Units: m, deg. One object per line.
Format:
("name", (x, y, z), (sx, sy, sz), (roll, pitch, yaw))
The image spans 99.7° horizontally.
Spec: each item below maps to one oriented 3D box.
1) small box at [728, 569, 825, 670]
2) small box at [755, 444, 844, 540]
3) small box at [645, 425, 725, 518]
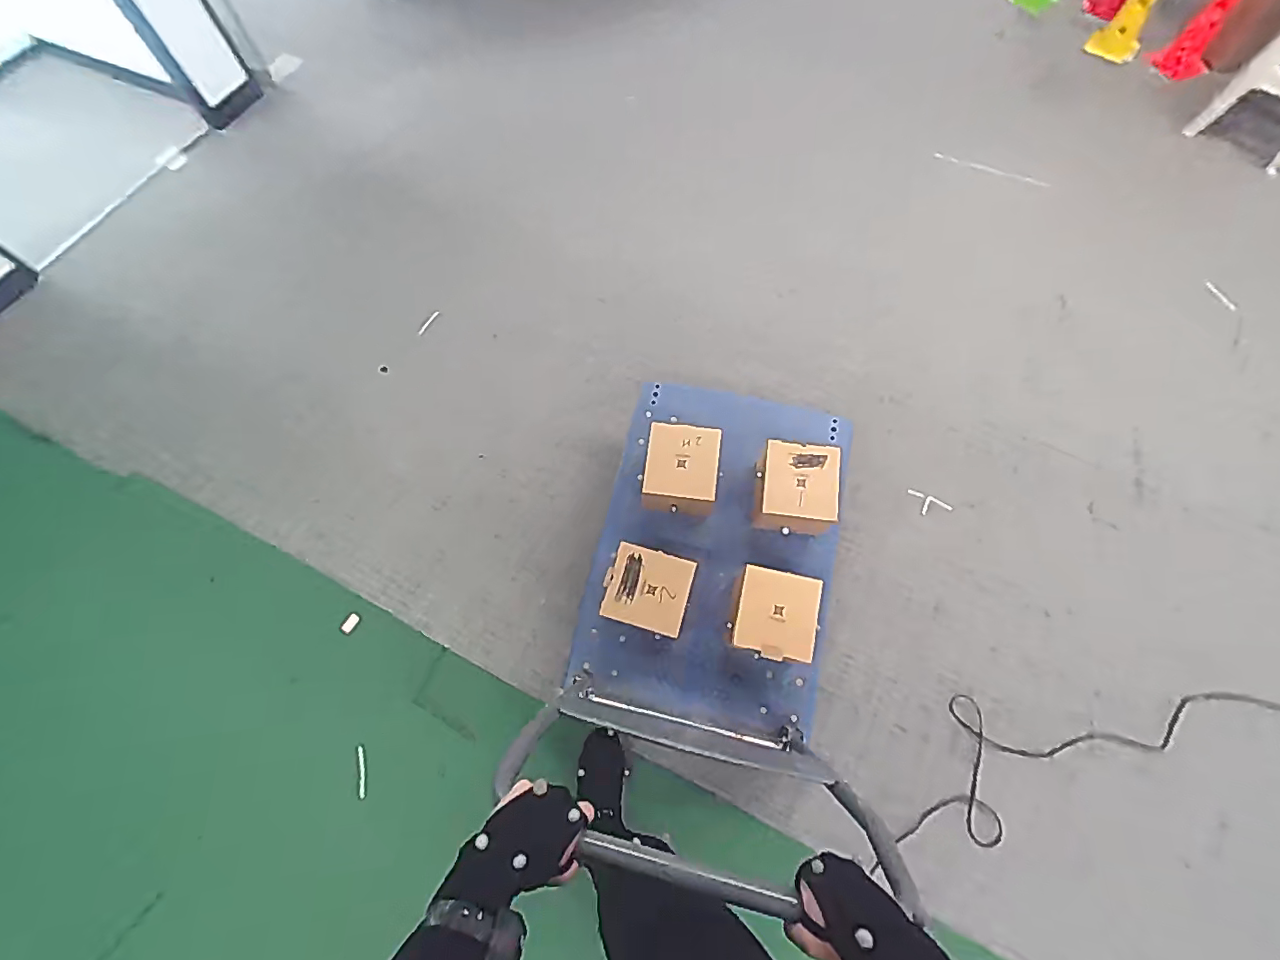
("small box", (0.297, 0.310, 1.205), (0.168, 0.176, 0.179), (12, 75, 6))
("small box", (0.372, 0.032, 1.283), (0.168, 0.176, 0.179), (8, 75, 5))
("small box", (0.107, -0.013, 1.307), (0.168, 0.176, 0.179), (8, 74, 4))
